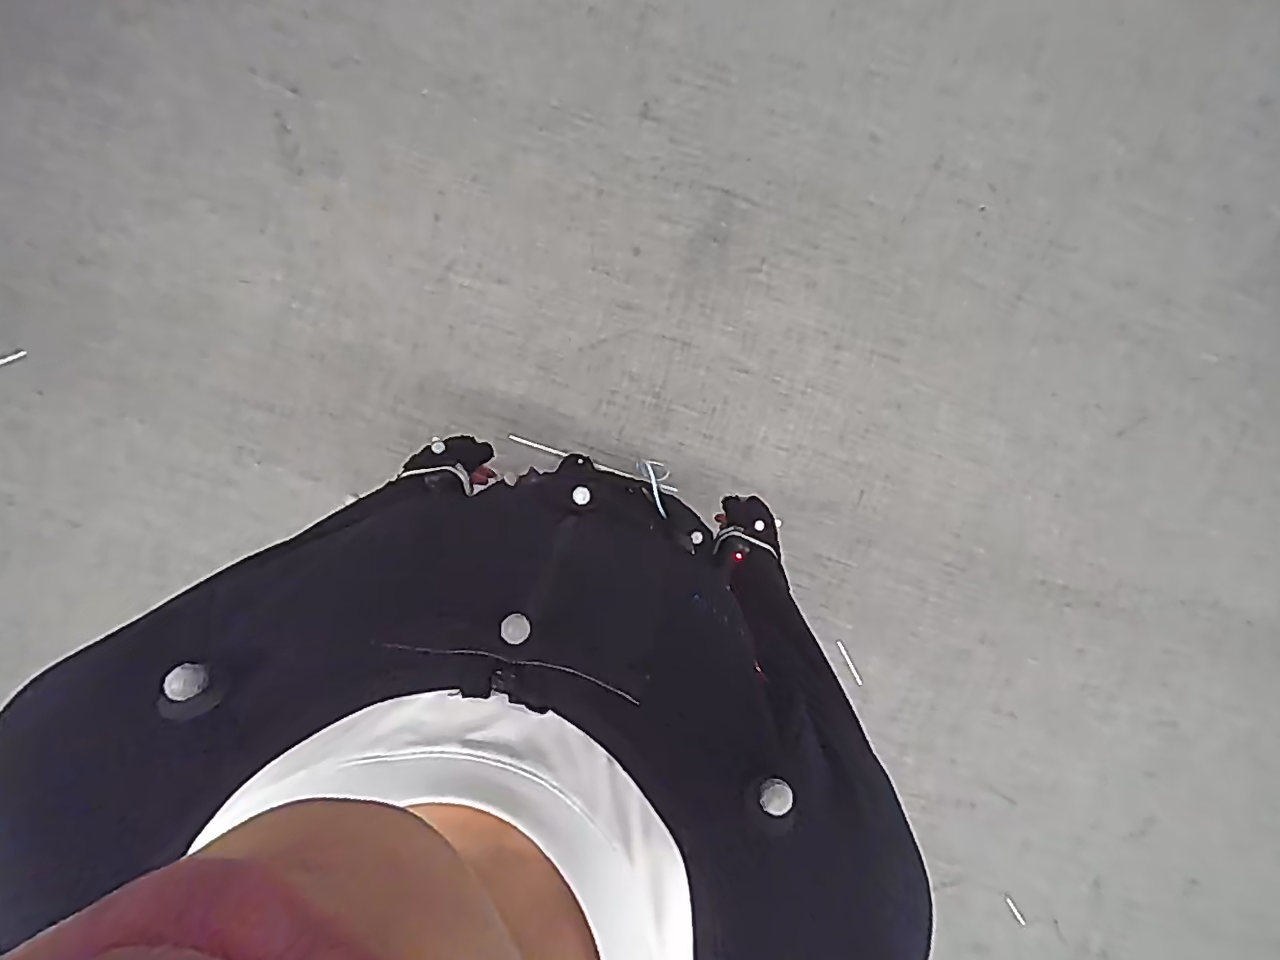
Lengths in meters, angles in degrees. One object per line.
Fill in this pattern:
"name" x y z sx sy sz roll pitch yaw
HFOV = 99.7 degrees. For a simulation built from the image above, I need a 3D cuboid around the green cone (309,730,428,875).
"green cone" -0.692 0.808 1.315 0.202 0.368 0.200 17 92 -4
